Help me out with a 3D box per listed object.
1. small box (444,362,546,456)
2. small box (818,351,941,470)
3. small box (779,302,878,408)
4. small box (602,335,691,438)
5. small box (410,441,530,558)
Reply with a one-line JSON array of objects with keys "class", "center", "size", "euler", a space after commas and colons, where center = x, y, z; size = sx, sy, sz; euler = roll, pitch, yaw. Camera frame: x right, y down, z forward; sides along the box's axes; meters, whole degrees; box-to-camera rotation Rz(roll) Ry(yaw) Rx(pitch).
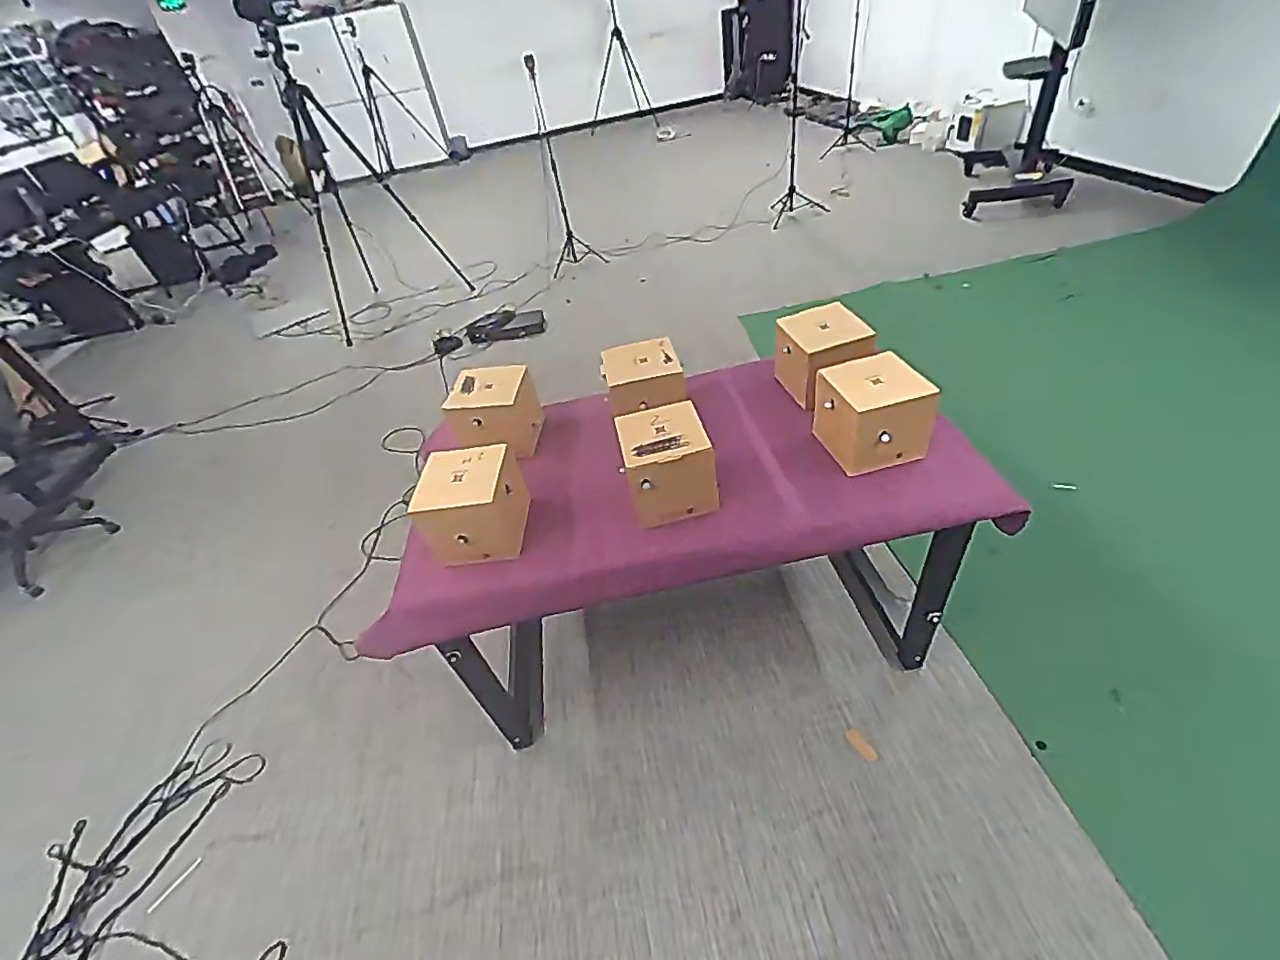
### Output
[{"class": "small box", "center": [-0.349, -0.170, 1.335], "size": [0.179, 0.176, 0.168], "euler": [-3, 44, 8]}, {"class": "small box", "center": [0.484, -0.139, 1.120], "size": [0.168, 0.176, 0.179], "euler": [-15, 40, -2]}, {"class": "small box", "center": [0.444, -0.301, 1.305], "size": [0.168, 0.176, 0.179], "euler": [-16, 44, -3]}, {"class": "small box", "center": [0.017, -0.224, 1.316], "size": [0.179, 0.176, 0.168], "euler": [-13, 44, 0]}, {"class": "small box", "center": [-0.332, 0.046, 1.099], "size": [0.168, 0.176, 0.179], "euler": [-6, 43, 5]}]
